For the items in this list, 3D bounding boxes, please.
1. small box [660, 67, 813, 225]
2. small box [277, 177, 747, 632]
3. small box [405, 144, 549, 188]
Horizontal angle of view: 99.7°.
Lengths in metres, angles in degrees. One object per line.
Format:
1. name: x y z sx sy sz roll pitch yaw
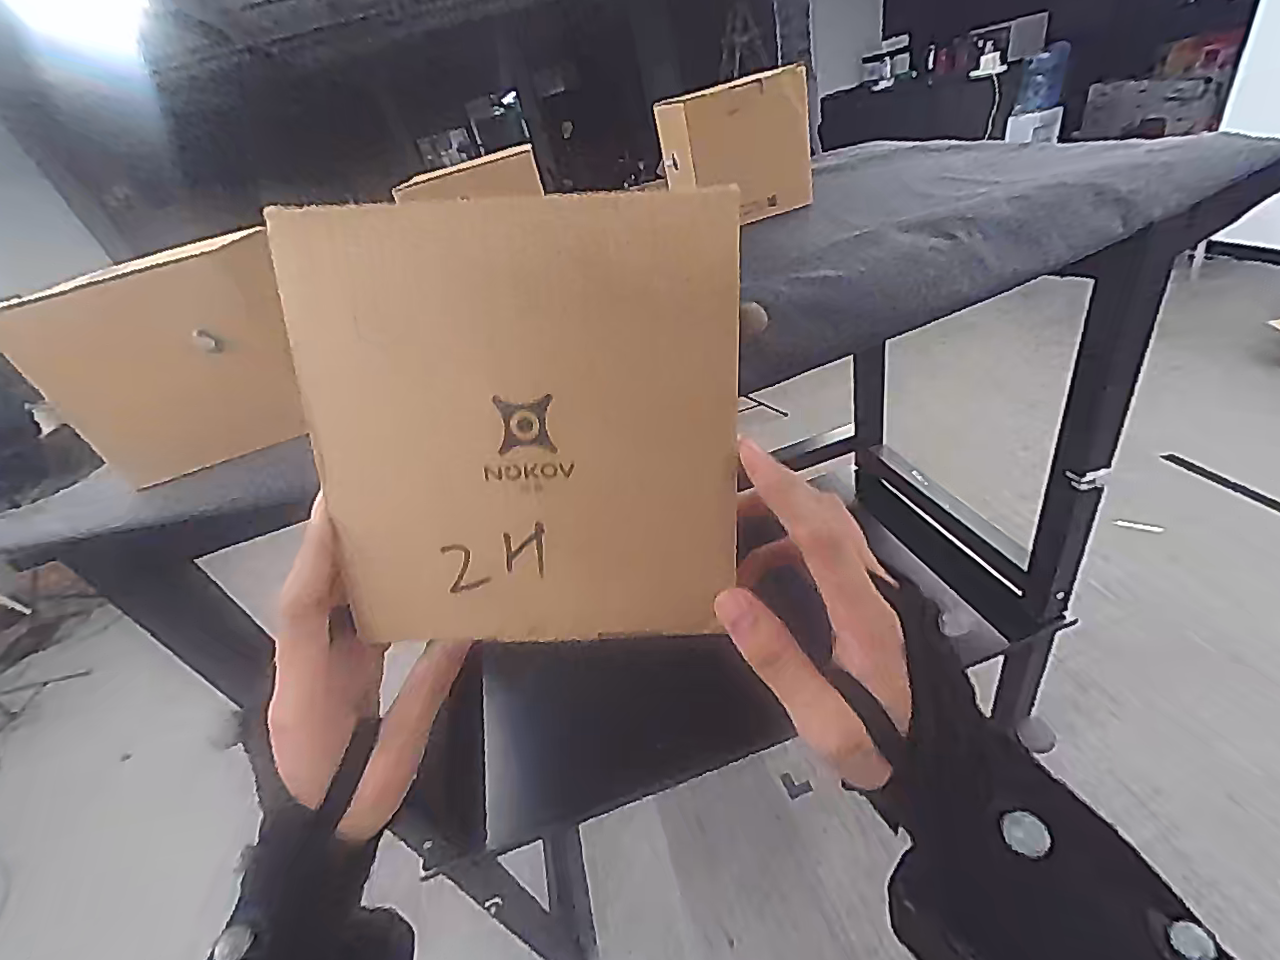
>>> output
1. small box: 0.142 -0.476 0.796 0.168 0.176 0.179 -17 34 -2
2. small box: -0.042 -0.041 0.286 0.168 0.179 0.176 -1 17 2
3. small box: -0.199 -0.348 0.756 0.179 0.176 0.168 -16 35 0
